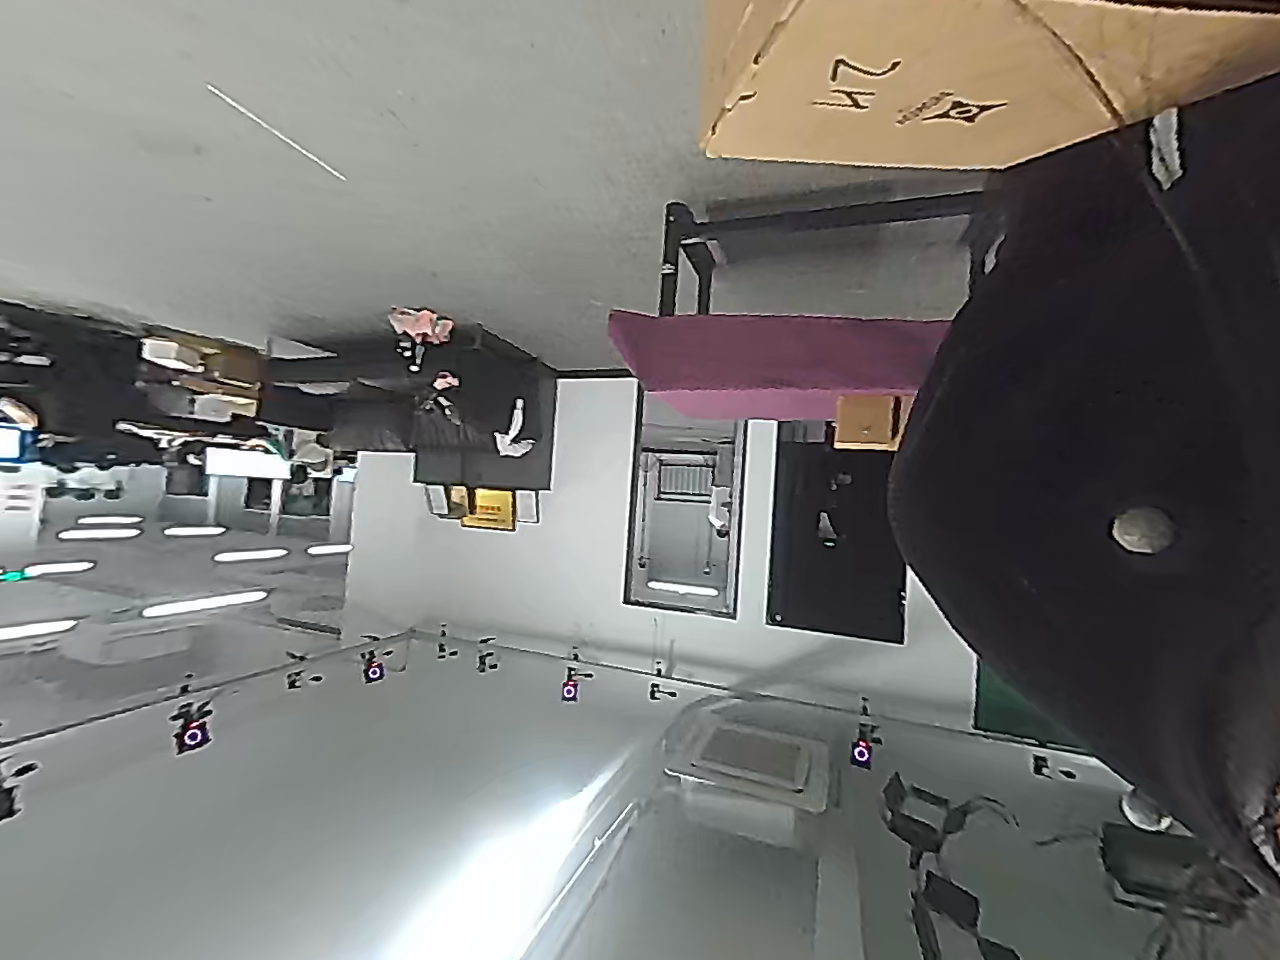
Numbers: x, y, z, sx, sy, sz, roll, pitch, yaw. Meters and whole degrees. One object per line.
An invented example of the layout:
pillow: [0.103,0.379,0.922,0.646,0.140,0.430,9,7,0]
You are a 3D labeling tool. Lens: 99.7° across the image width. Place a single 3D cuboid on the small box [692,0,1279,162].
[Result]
small box: [0.125,-0.231,0.189,0.179,0.176,0.168,1,-164,-7]
